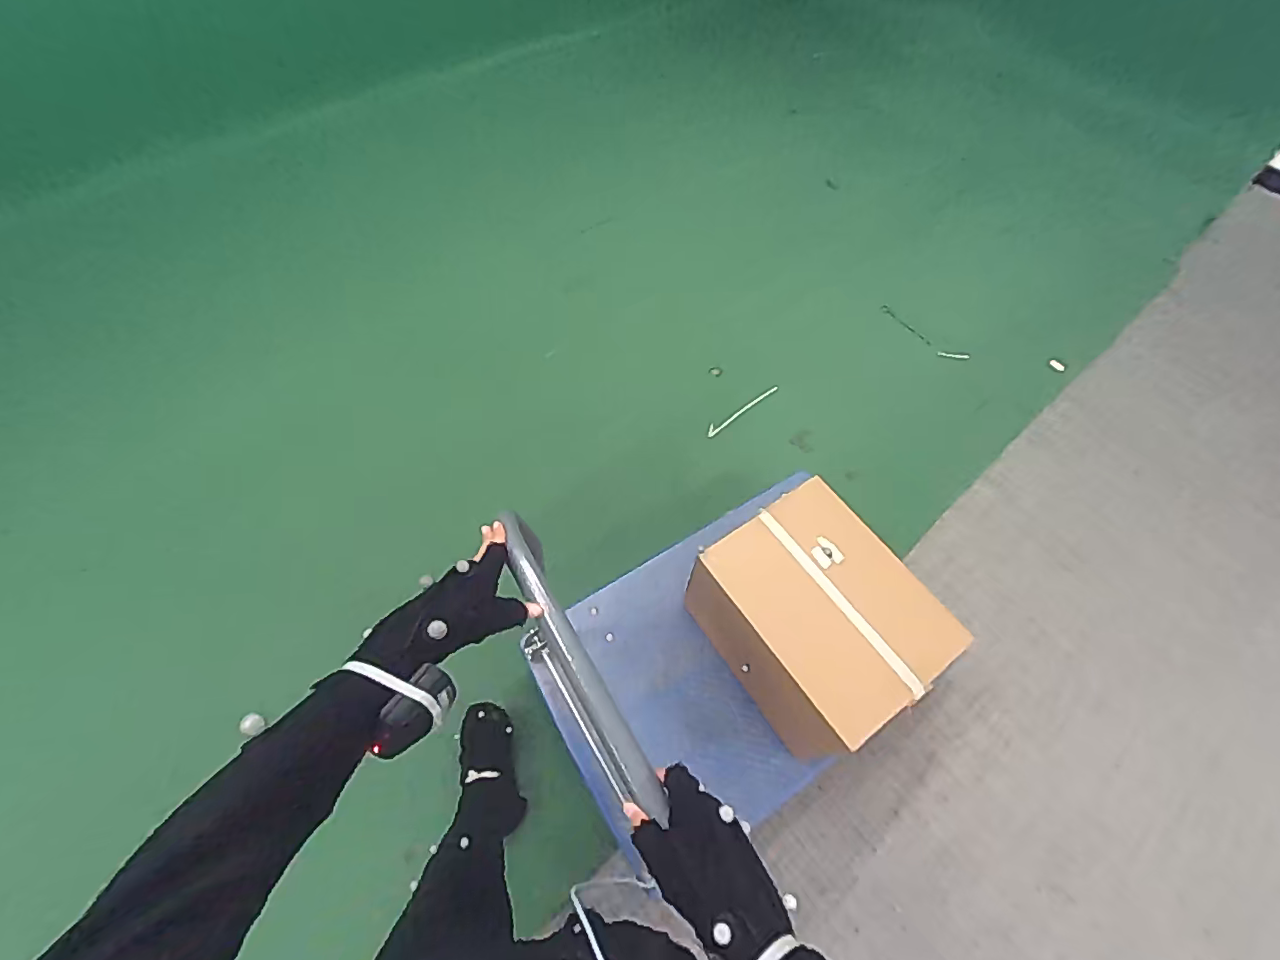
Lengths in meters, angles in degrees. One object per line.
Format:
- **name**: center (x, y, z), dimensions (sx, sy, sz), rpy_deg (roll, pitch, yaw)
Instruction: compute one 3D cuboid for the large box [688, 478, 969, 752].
- **large box**: center (0.347, 0.282, 1.117), dimensions (0.320, 0.320, 0.408), rpy_deg (-31, 65, -18)
